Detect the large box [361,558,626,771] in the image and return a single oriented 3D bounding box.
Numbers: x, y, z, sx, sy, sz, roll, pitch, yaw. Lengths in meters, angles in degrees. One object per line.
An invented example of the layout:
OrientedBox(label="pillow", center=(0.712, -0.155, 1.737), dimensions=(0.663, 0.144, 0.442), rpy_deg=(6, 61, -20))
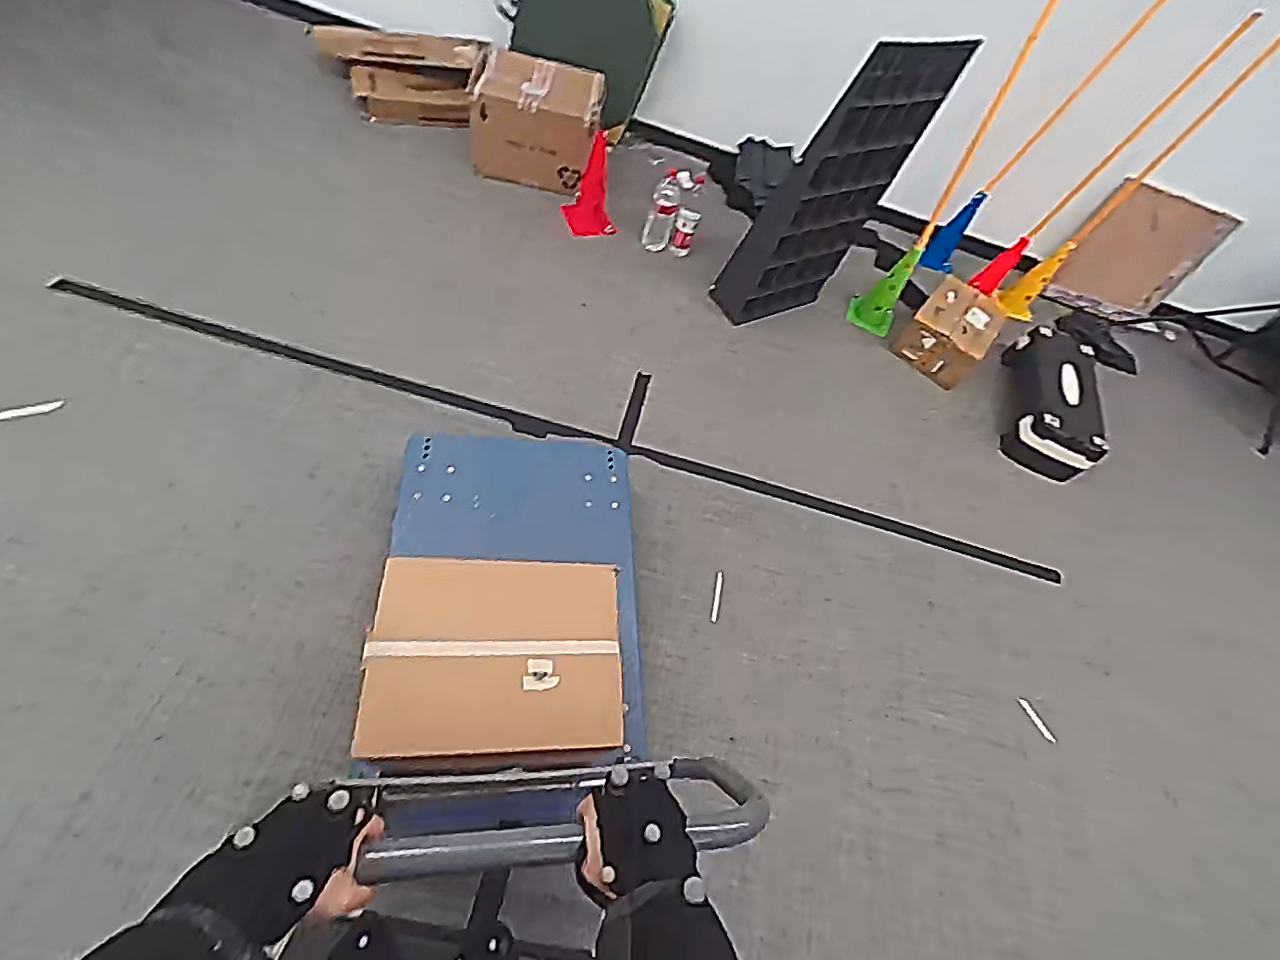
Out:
OrientedBox(label="large box", center=(-0.263, 0.355, 1.025), dimensions=(0.408, 0.320, 0.320), rpy_deg=(5, 59, -14))
